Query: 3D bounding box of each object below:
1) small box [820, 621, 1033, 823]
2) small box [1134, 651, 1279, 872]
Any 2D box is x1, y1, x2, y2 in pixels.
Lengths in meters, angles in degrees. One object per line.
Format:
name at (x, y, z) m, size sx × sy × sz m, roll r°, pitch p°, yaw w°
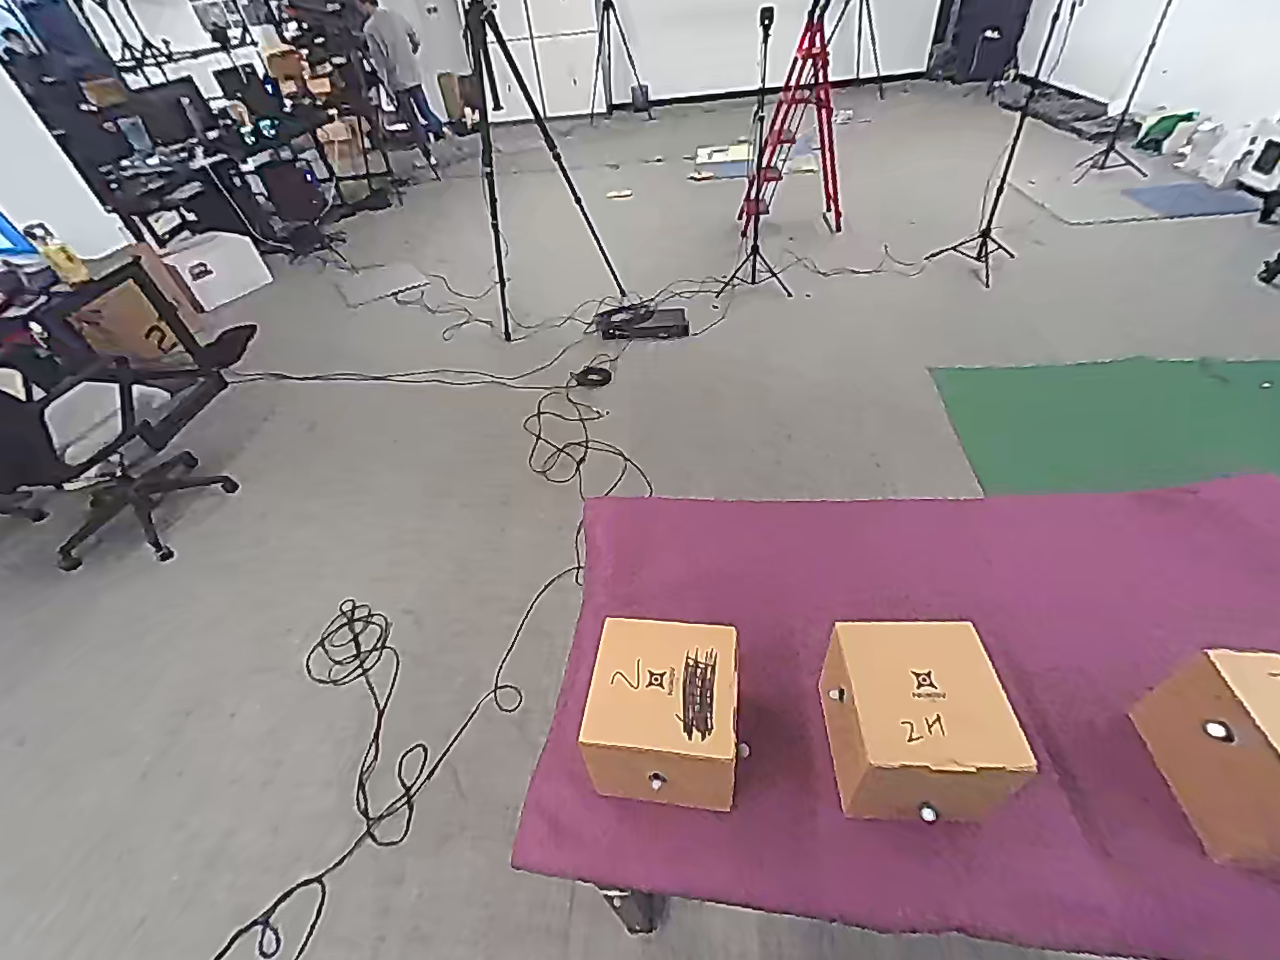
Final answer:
small box at (0.329, 0.295, 0.669) m, size 0.168 × 0.176 × 0.179 m, roll -2°, pitch 42°, yaw 6°
small box at (0.718, 0.314, 0.601) m, size 0.168 × 0.176 × 0.179 m, roll -1°, pitch 44°, yaw 7°
